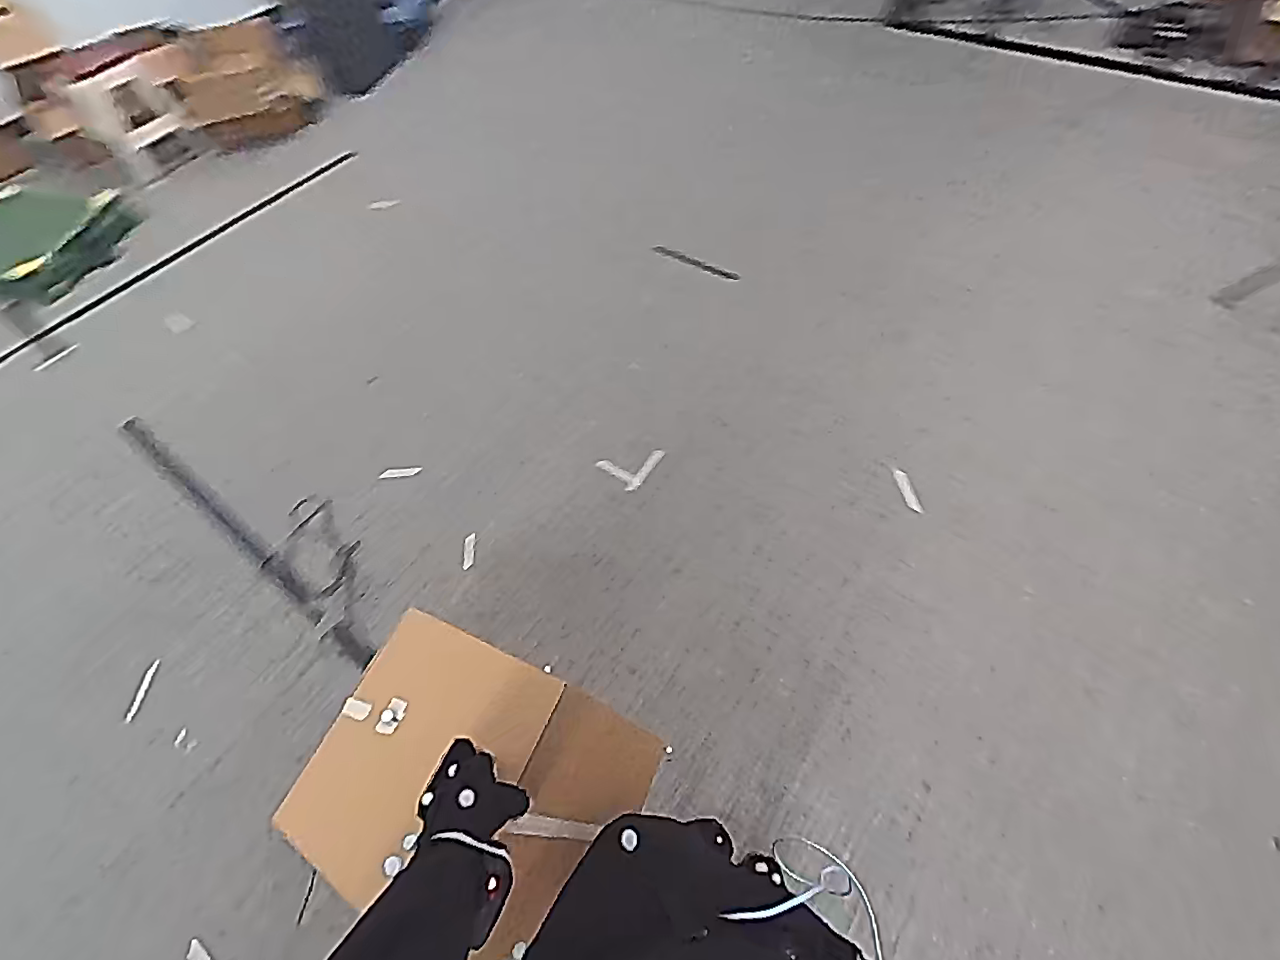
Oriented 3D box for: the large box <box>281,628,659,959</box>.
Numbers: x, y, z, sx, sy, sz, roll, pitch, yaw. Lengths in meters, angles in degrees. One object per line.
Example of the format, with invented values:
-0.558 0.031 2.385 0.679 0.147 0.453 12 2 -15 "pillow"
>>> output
-0.222 0.472 0.839 0.320 0.408 0.320 13 64 31 "large box"
